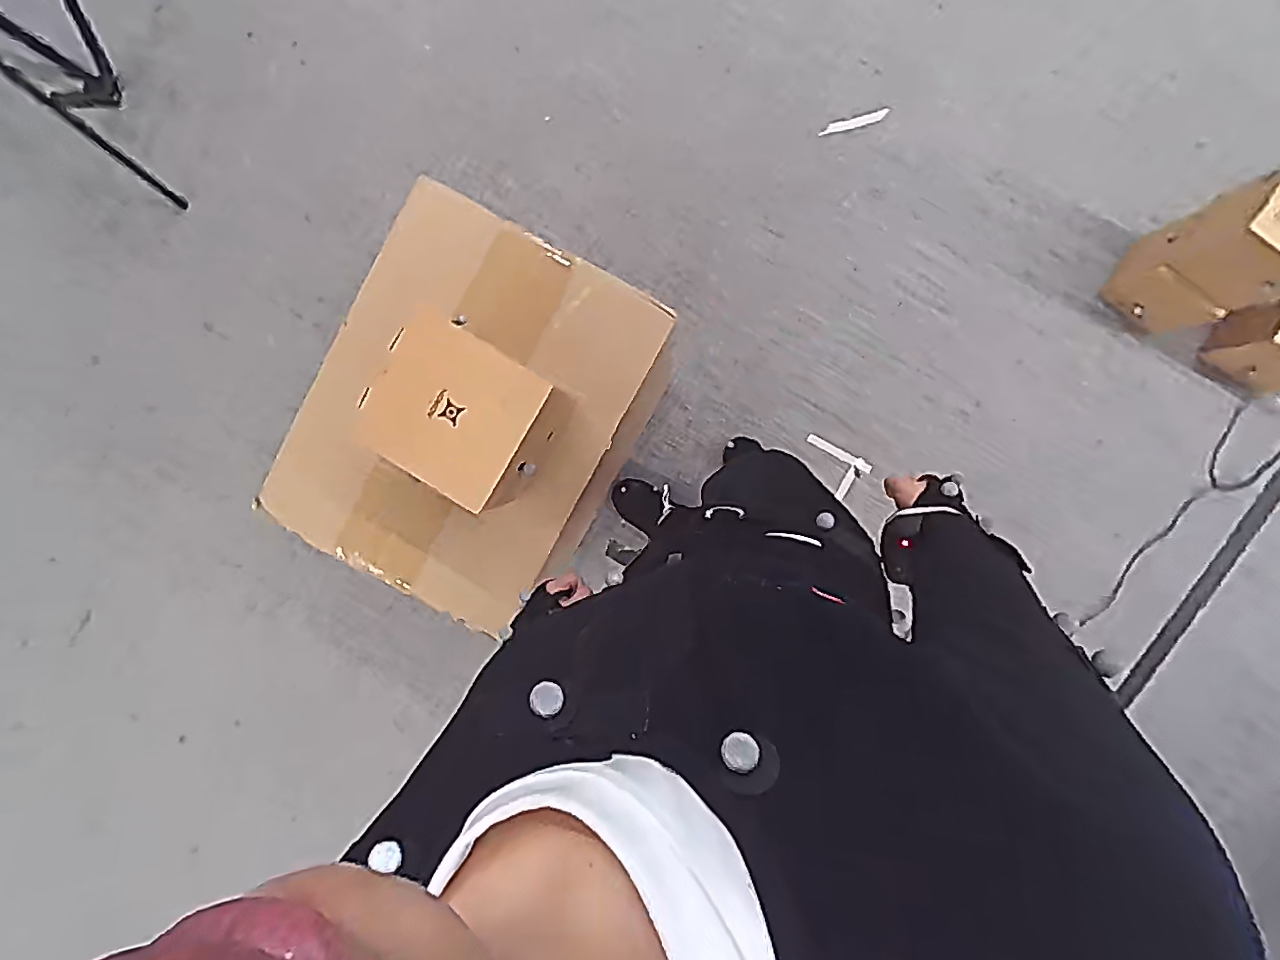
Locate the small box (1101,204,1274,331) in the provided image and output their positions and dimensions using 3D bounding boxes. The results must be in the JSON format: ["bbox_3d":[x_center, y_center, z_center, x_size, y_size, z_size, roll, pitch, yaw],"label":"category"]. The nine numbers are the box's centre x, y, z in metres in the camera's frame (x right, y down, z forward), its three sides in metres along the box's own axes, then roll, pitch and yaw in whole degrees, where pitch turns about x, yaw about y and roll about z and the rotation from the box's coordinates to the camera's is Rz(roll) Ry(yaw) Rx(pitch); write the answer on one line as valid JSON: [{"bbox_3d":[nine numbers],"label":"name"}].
[{"bbox_3d":[1.195,-0.459,1.198,0.168,0.176,0.179,38,95,1],"label":"small box"}]

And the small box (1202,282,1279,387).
[{"bbox_3d":[1.425,-0.326,1.192,0.168,0.176,0.179,32,94,3],"label":"small box"}]

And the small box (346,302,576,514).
[{"bbox_3d":[-0.196,-0.081,0.649,0.179,0.176,0.168,31,94,1],"label":"small box"}]
